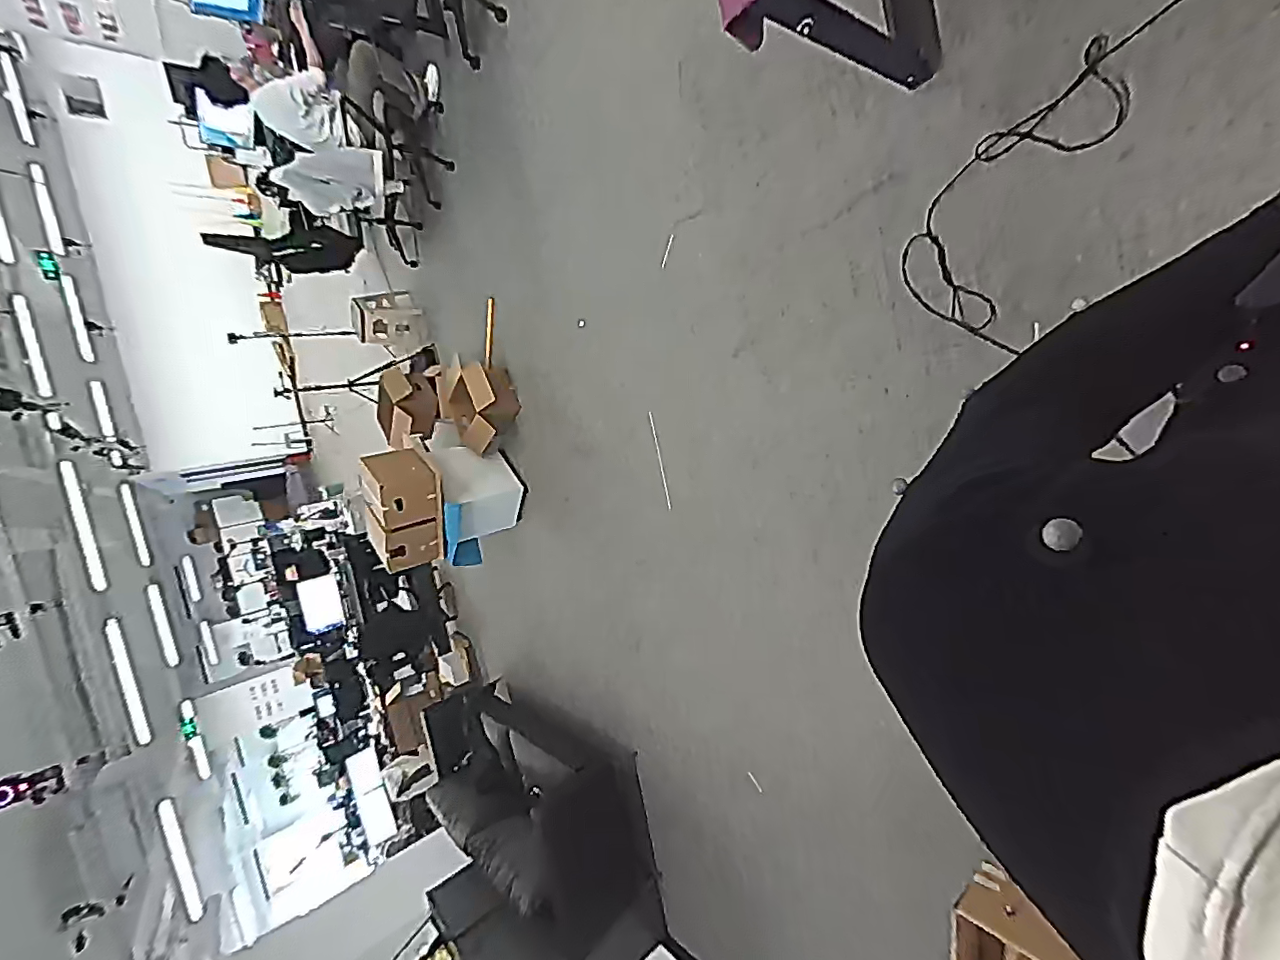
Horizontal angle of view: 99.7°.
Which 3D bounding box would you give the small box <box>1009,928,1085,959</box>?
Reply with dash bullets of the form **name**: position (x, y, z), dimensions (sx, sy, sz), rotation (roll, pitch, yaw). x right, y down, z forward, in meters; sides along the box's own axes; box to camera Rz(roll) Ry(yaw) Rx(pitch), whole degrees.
- **small box**: position (0.914, 1.158, 1.185), dimensions (0.168, 0.176, 0.179), rotation (4, 105, 50)
